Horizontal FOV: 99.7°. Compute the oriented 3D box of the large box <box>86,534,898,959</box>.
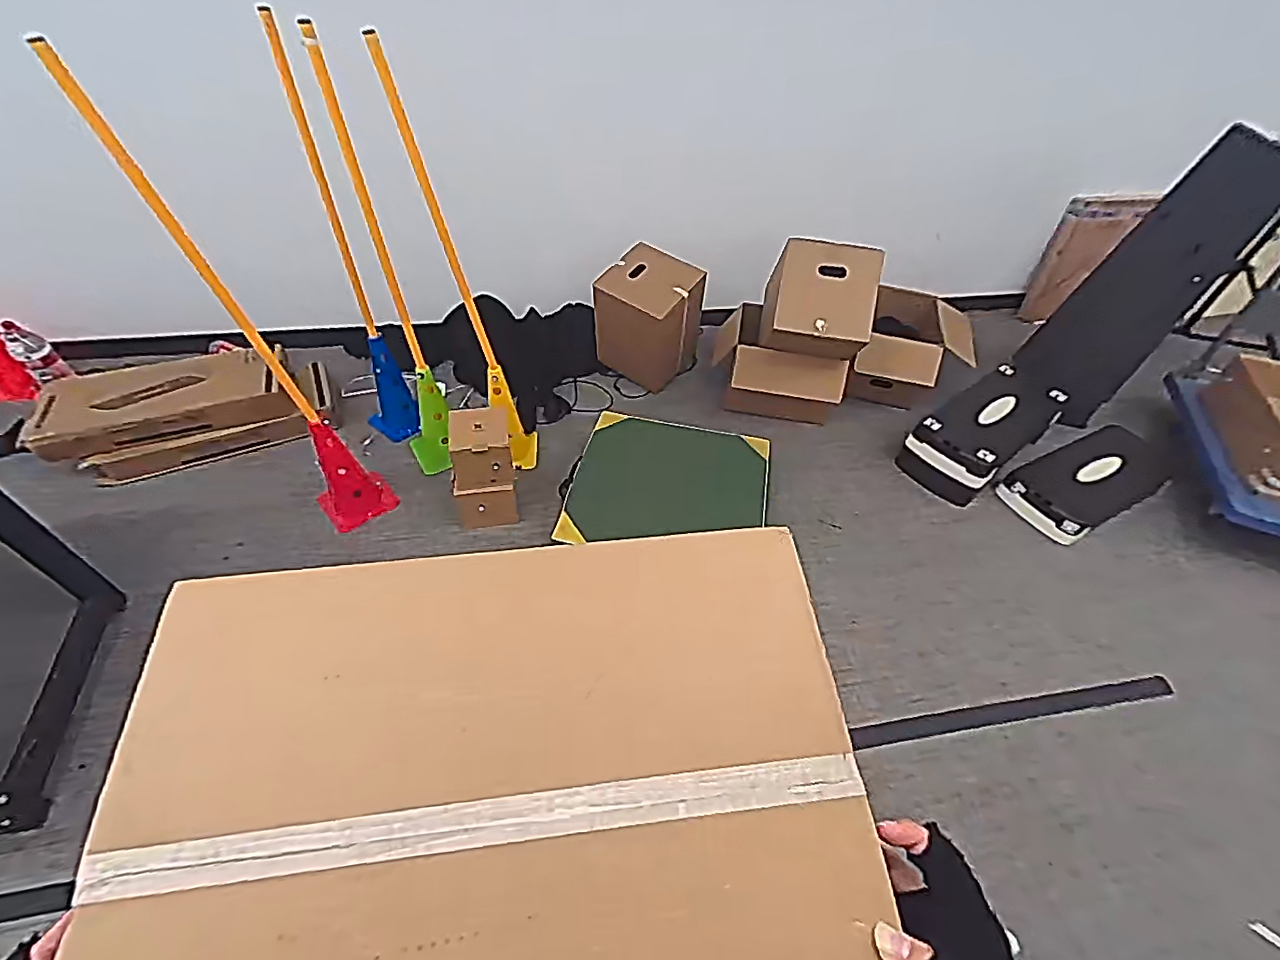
[{"bbox_3d":[-0.081,0.264,0.425,0.408,0.320,0.320,-5,61,-5],"label":"large box"}]
